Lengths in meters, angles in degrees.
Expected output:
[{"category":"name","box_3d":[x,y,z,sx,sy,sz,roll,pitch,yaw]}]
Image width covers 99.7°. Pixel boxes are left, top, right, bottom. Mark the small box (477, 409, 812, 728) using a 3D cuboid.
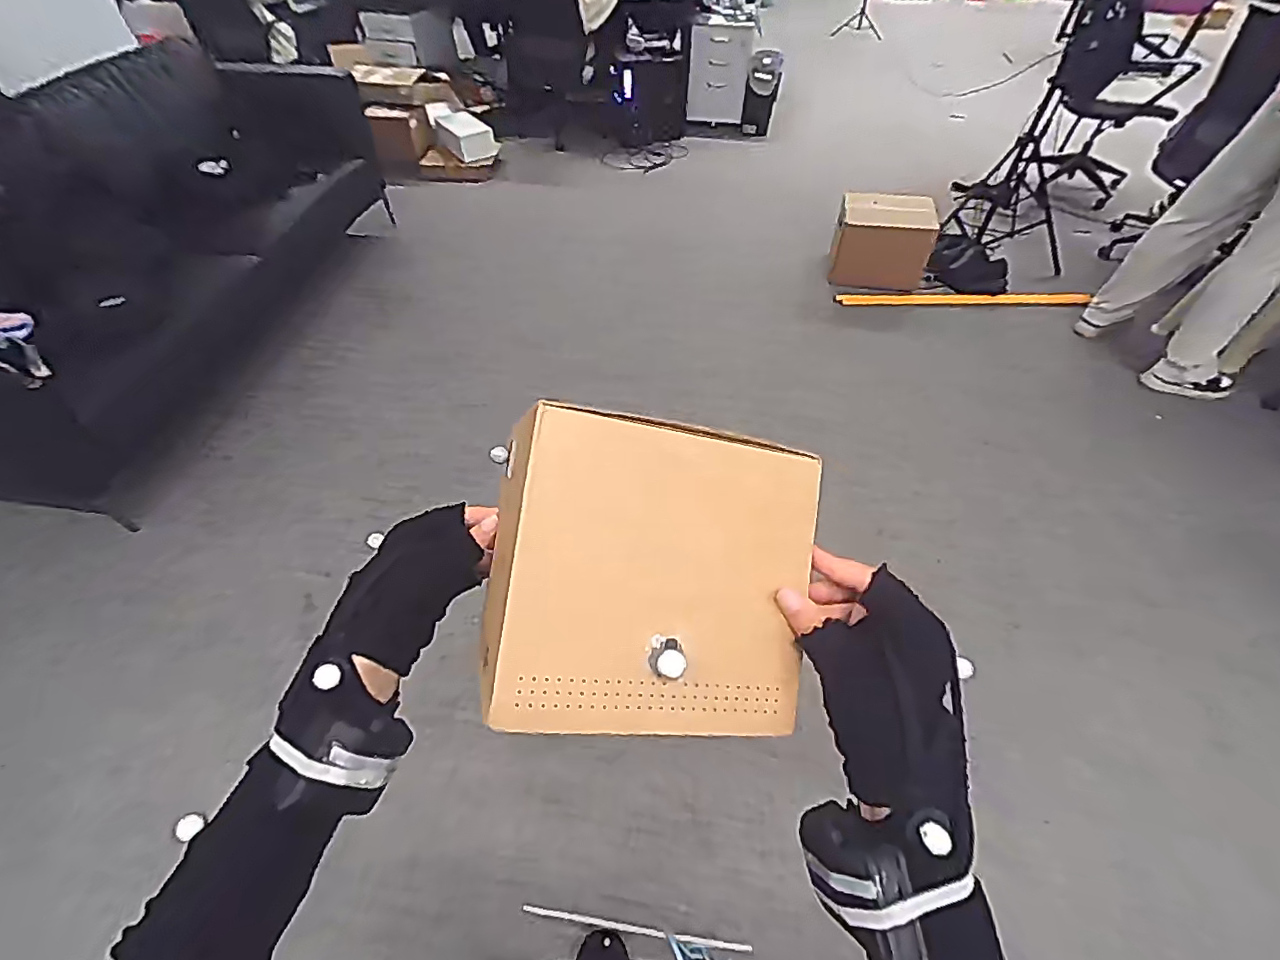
[{"category":"small box","box_3d":[-0.008,0.061,0.380,0.179,0.168,0.176,10,83,-18]}]
